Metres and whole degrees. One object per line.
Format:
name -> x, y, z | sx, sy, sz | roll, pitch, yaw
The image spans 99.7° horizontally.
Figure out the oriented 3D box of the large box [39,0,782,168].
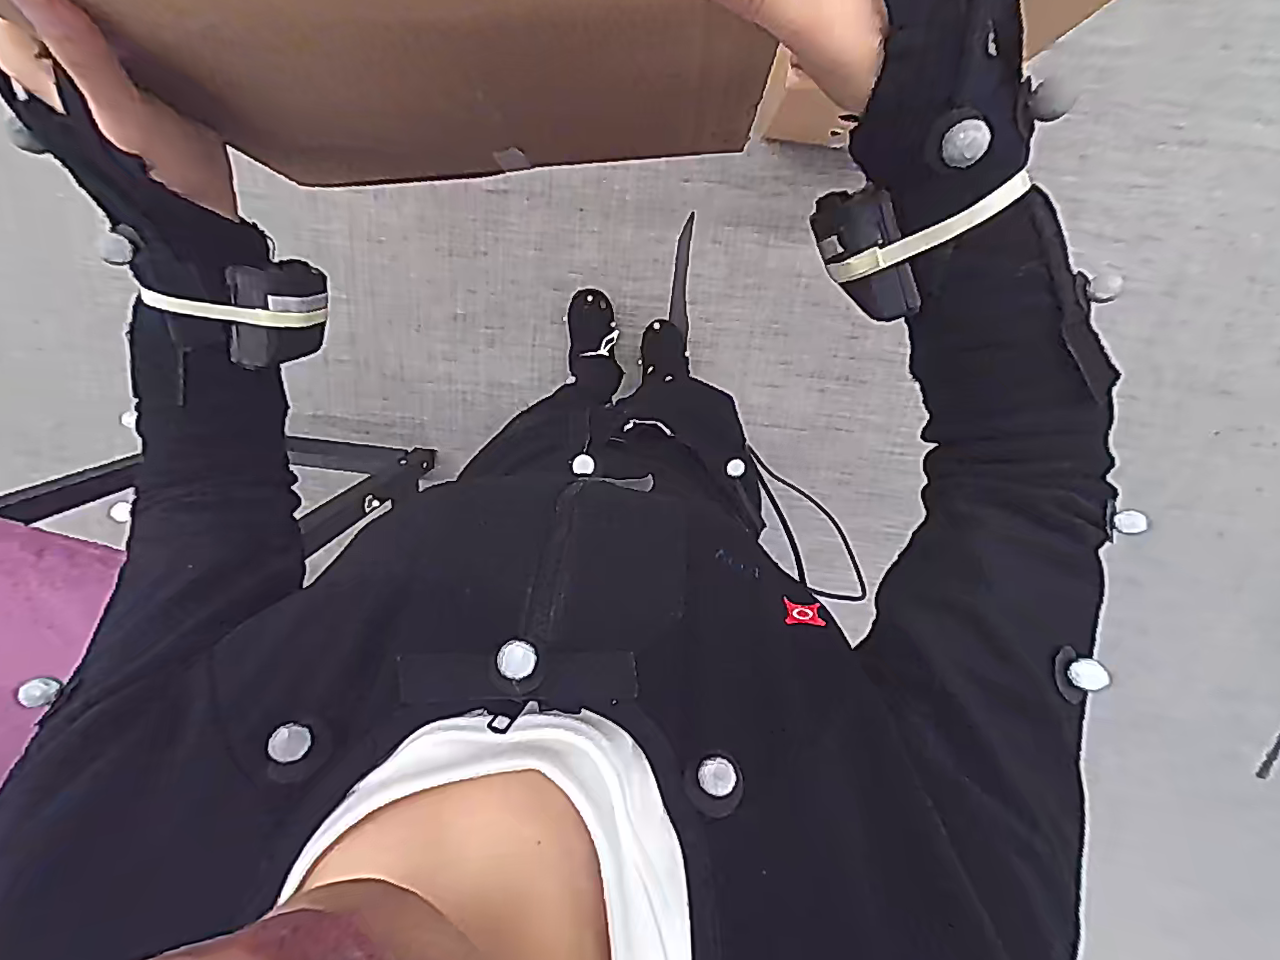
large box -> -0.102, -0.393, 0.187 | 0.320, 0.320, 0.408 | -4, 100, 4
